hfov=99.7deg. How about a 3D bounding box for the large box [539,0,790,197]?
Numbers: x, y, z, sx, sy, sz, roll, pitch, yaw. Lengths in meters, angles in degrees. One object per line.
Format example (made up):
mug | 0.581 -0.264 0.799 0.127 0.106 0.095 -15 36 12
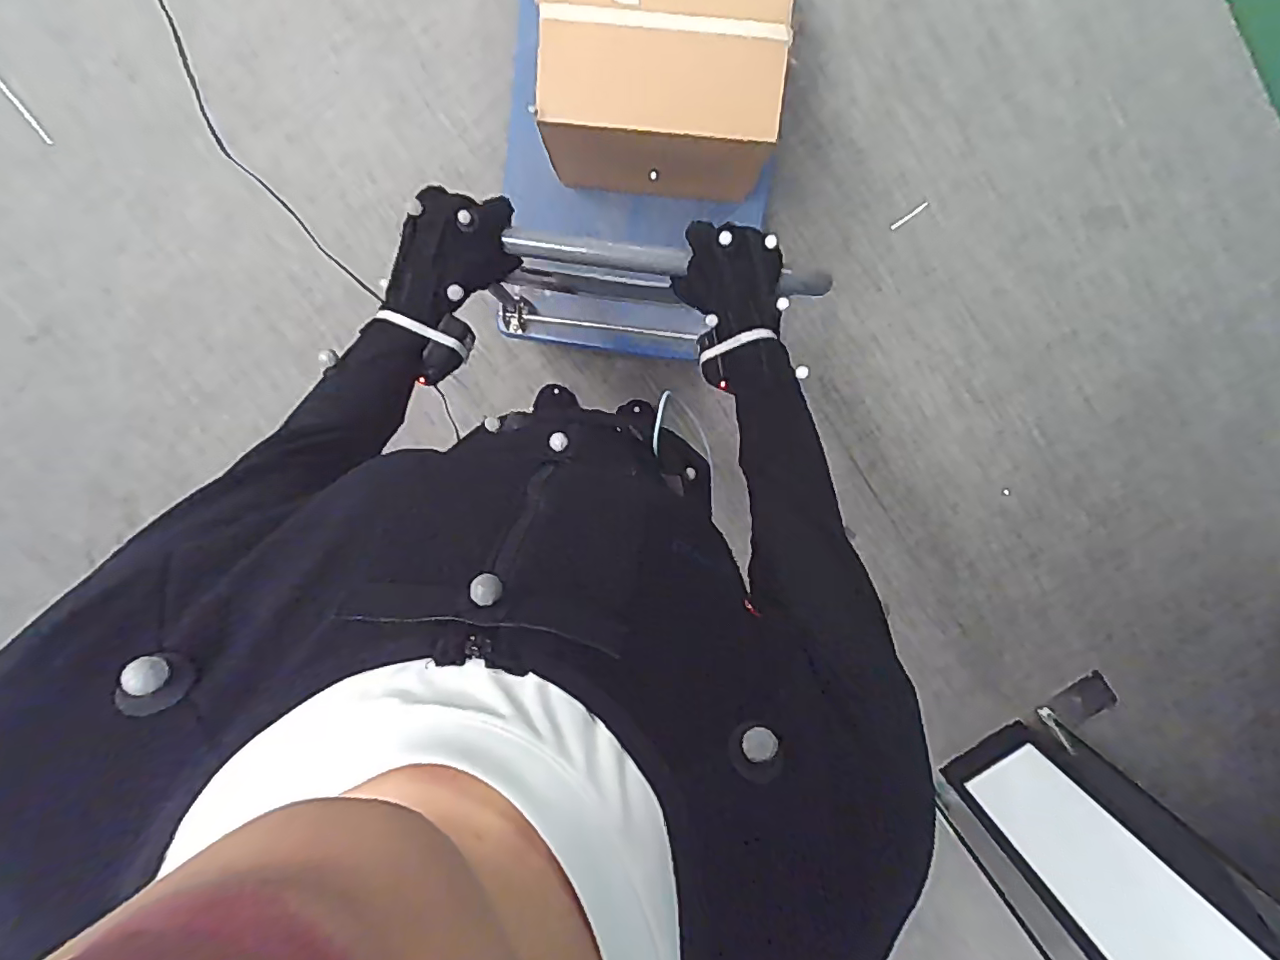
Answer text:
large box | 0.040 -0.752 1.018 0.408 0.320 0.320 4 100 -1
